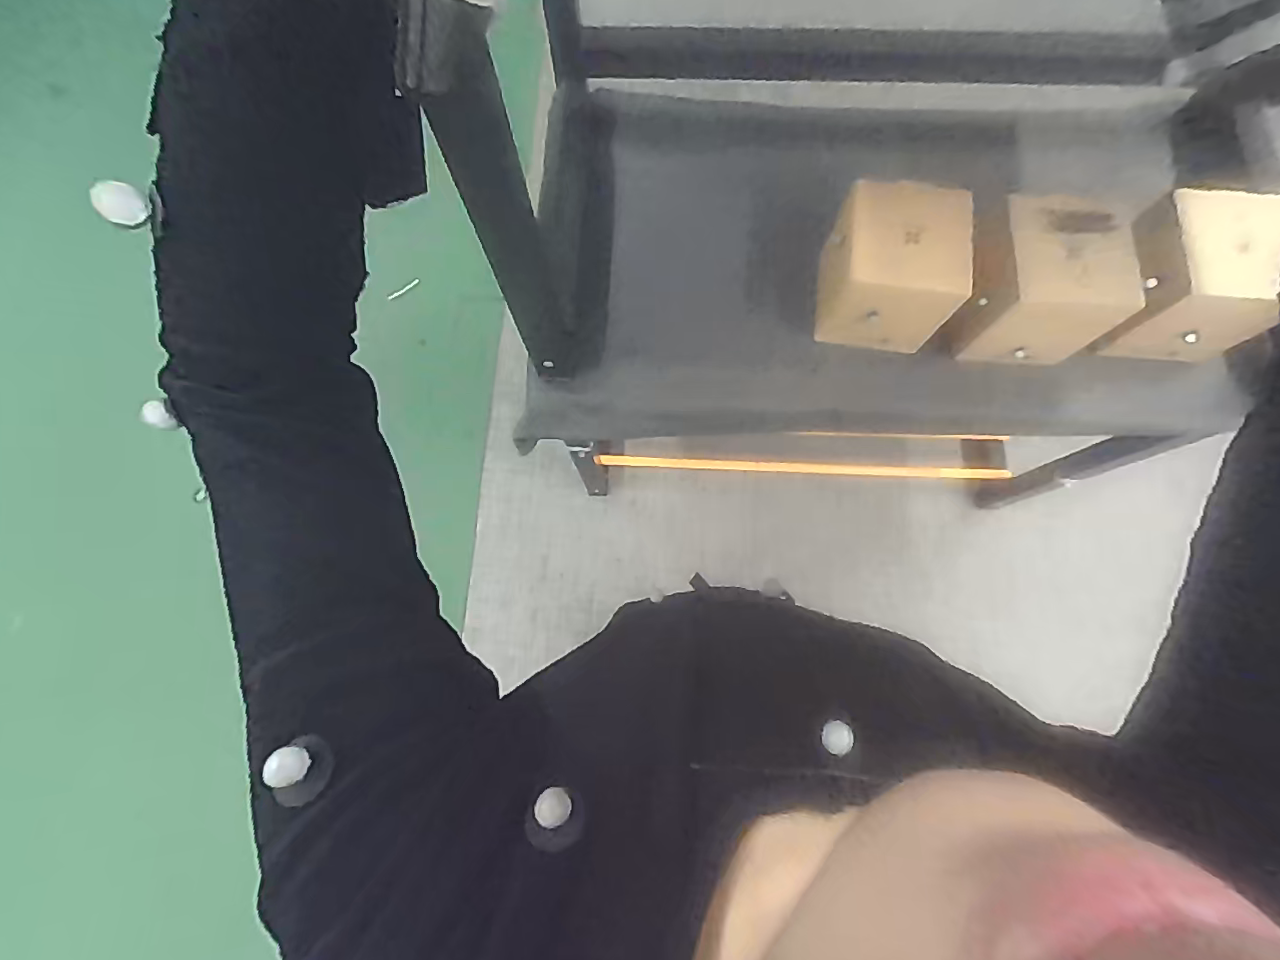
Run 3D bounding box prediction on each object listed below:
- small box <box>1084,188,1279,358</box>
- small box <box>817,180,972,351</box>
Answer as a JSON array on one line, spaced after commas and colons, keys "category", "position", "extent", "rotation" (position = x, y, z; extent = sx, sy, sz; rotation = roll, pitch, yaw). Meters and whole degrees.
[{"category": "small box", "position": [0.820, -0.301, 0.814], "extent": [0.168, 0.176, 0.179], "rotation": [5, 74, 2]}, {"category": "small box", "position": [0.380, -0.319, 0.831], "extent": [0.168, 0.176, 0.179], "rotation": [8, 74, 3]}]
